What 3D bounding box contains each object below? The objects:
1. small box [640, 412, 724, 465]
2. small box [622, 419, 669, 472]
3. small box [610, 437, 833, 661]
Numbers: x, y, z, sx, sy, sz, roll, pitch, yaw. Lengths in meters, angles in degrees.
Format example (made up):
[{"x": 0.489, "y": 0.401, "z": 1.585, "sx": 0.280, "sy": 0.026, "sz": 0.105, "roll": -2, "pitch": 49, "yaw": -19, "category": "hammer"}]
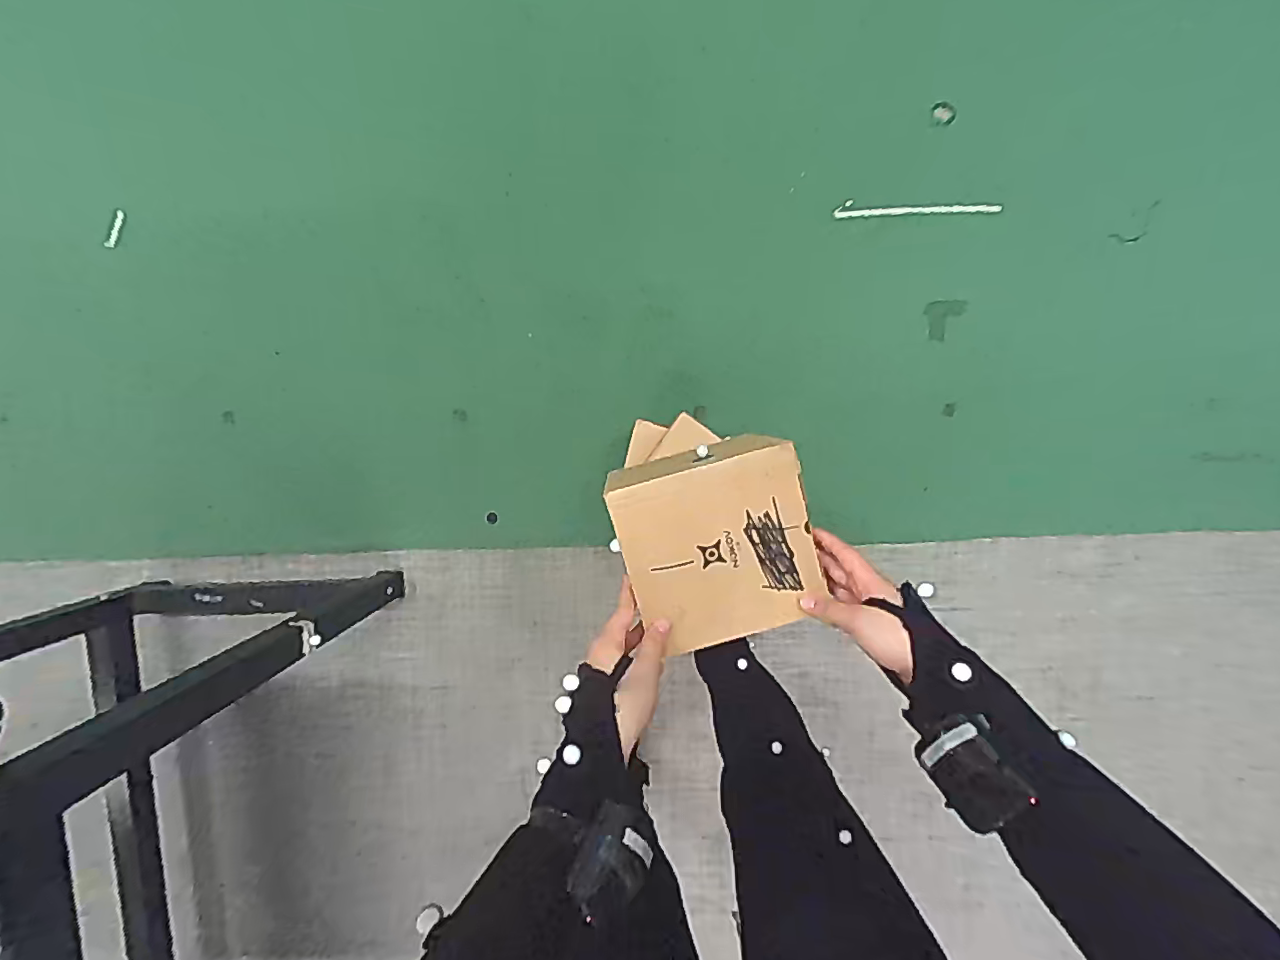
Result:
[{"x": 0.080, "y": 0.011, "z": 0.862, "sx": 0.168, "sy": 0.176, "sz": 0.179, "roll": 35, "pitch": 95, "yaw": -3, "category": "small box"}, {"x": 0.054, "y": -0.010, "z": 1.025, "sx": 0.168, "sy": 0.176, "sz": 0.179, "roll": 15, "pitch": 96, "yaw": 0, "category": "small box"}, {"x": 0.072, "y": 0.056, "z": 0.565, "sx": 0.179, "sy": 0.176, "sz": 0.168, "roll": -16, "pitch": 97, "yaw": 0, "category": "small box"}]
